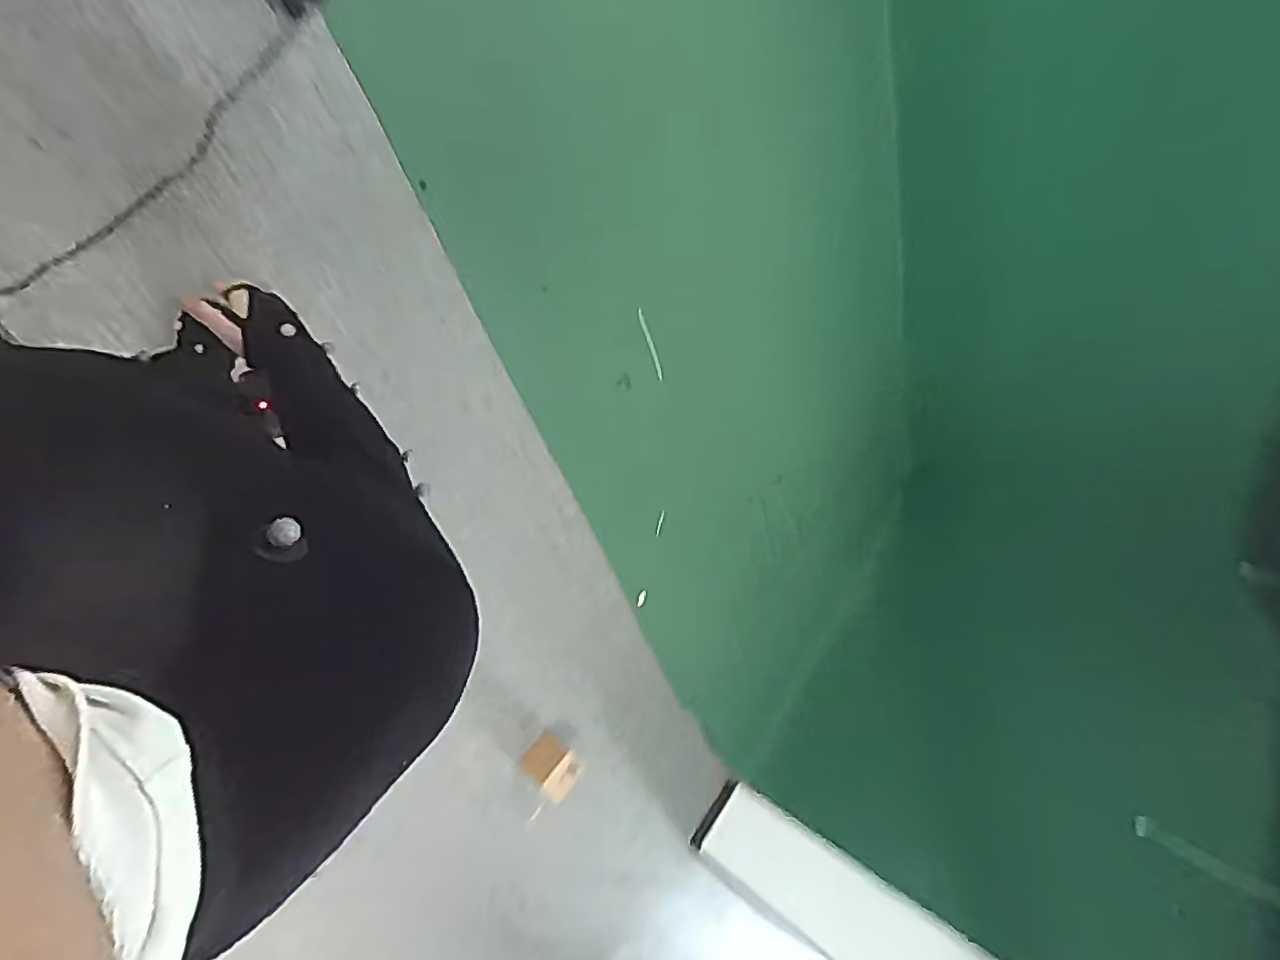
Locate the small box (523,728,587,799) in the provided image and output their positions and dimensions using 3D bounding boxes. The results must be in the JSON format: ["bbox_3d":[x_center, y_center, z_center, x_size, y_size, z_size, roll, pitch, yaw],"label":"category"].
[{"bbox_3d":[-0.360,1.185,2.275,0.179,0.176,0.168,-45,129,-27],"label":"small box"}]
